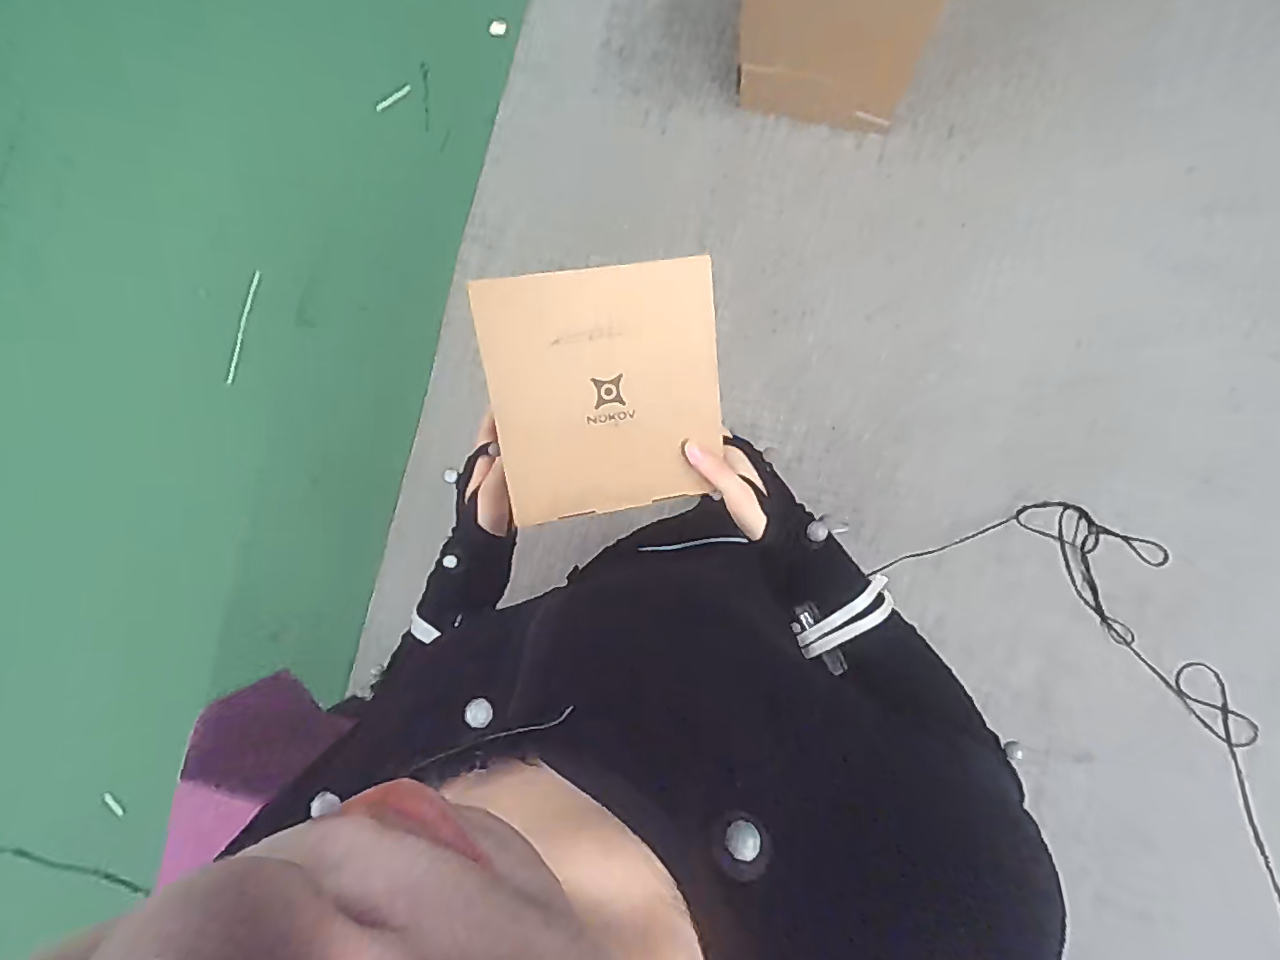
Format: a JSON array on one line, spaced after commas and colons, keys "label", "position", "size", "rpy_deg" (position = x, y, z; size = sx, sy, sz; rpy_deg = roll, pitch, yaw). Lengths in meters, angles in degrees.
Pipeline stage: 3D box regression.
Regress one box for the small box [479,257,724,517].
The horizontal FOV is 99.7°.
[{"label": "small box", "position": [-0.033, -0.088, 0.462], "size": [0.168, 0.176, 0.179], "rpy_deg": [-8, 109, -9]}]
